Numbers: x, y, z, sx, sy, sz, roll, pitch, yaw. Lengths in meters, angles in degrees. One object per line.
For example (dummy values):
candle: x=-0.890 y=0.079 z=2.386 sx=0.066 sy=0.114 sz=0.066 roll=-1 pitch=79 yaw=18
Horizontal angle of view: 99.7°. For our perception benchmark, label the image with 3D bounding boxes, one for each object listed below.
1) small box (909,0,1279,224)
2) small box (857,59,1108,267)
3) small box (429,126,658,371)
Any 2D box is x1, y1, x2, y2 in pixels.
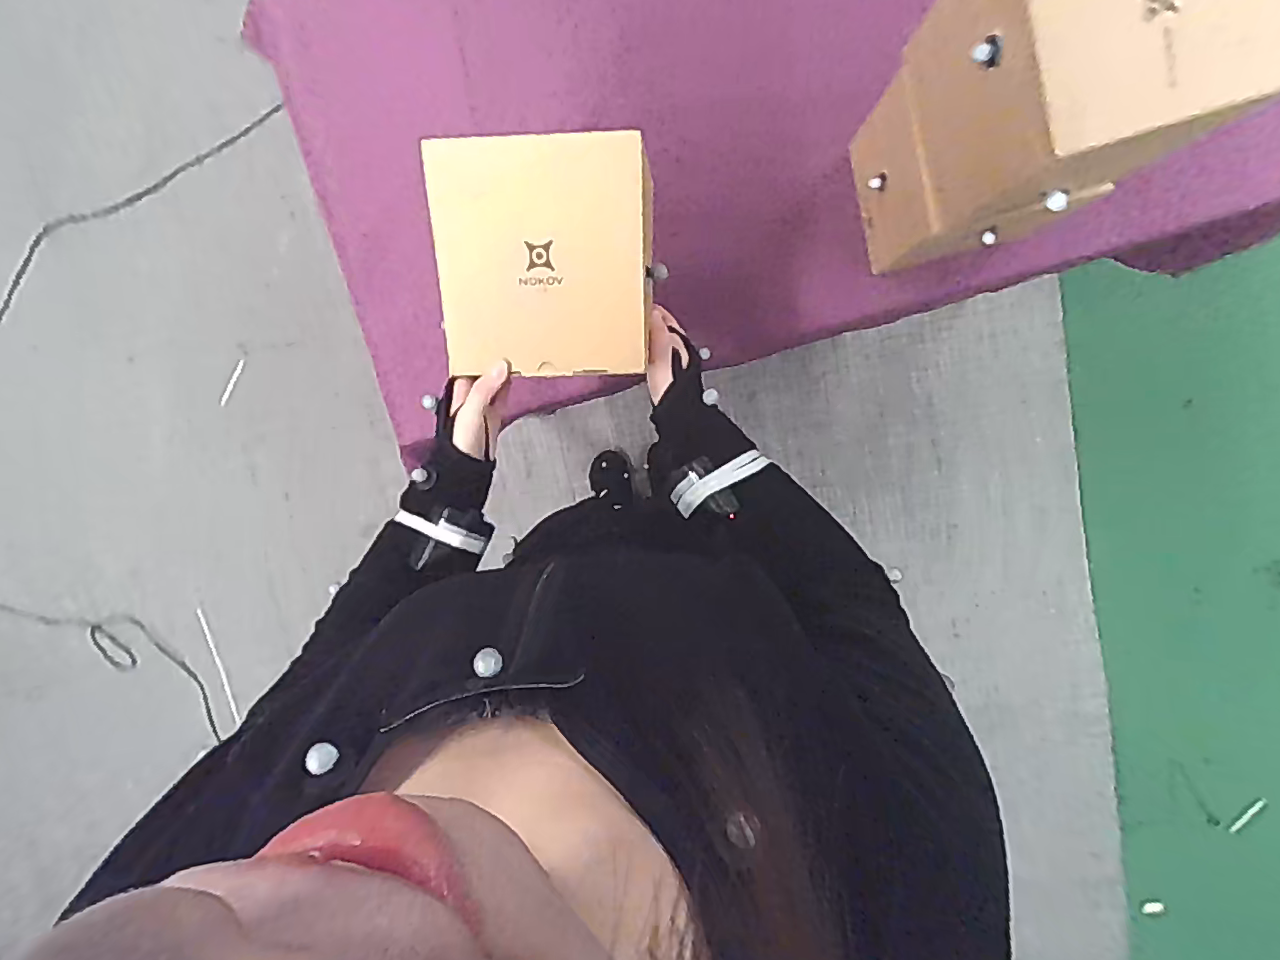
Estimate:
small box: x=0.344 y=-0.341 z=0.438 sx=0.168 sy=0.176 sz=0.179 roll=-15 pitch=97 yaw=6
small box: x=0.358 y=-0.355 z=0.602 sx=0.179 sy=0.176 sz=0.168 roll=-13 pitch=97 yaw=5
small box: x=-0.070 y=-0.199 z=0.493 sx=0.168 sy=0.176 sz=0.179 roll=1 pitch=111 yaw=4
